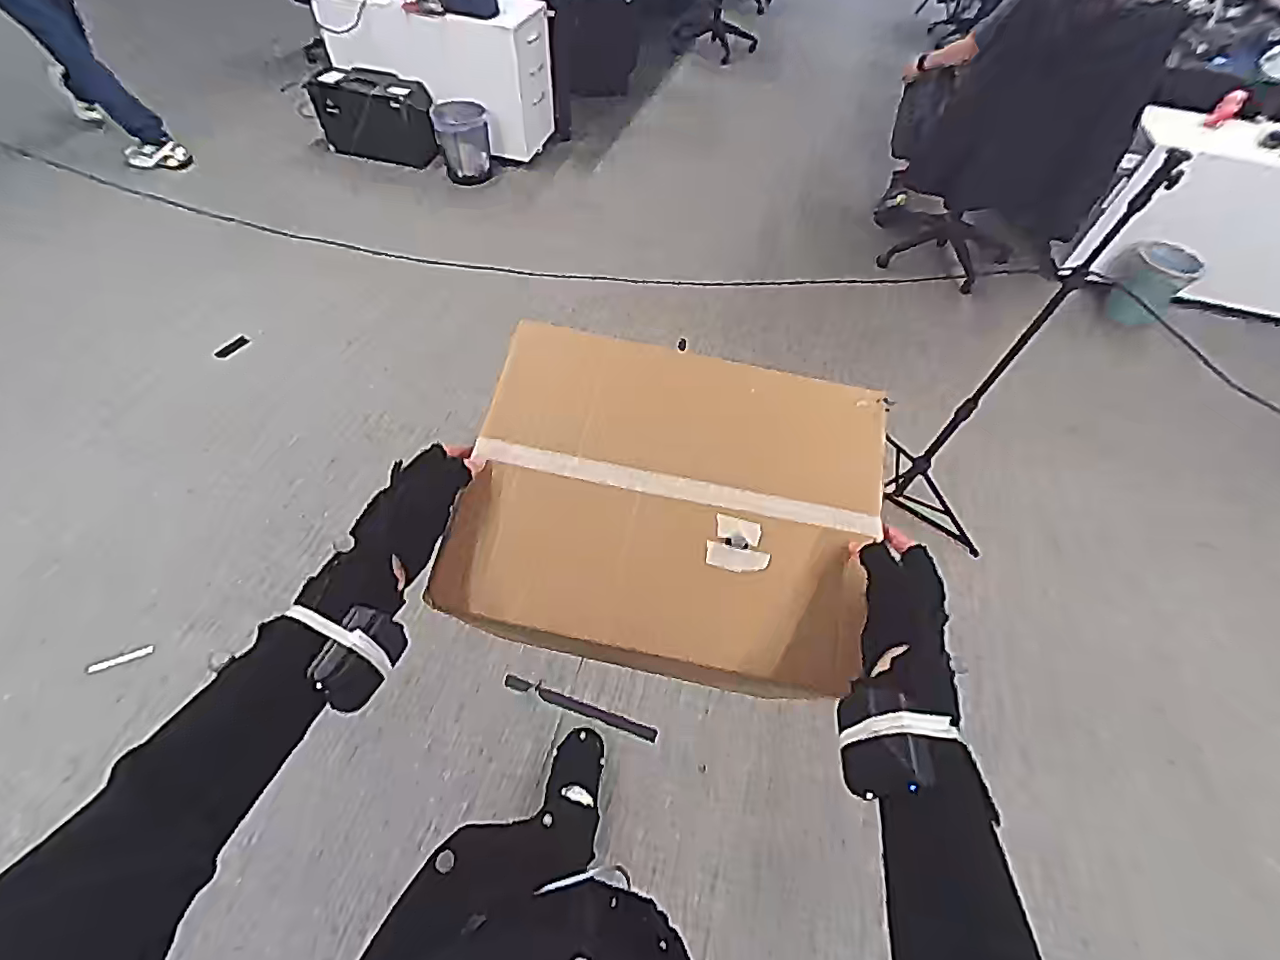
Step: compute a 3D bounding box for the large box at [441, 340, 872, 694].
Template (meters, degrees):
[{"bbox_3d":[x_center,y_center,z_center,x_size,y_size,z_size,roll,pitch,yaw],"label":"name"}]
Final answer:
[{"bbox_3d":[0.027,0.071,0.687,0.408,0.320,0.320,12,68,2],"label":"large box"}]
